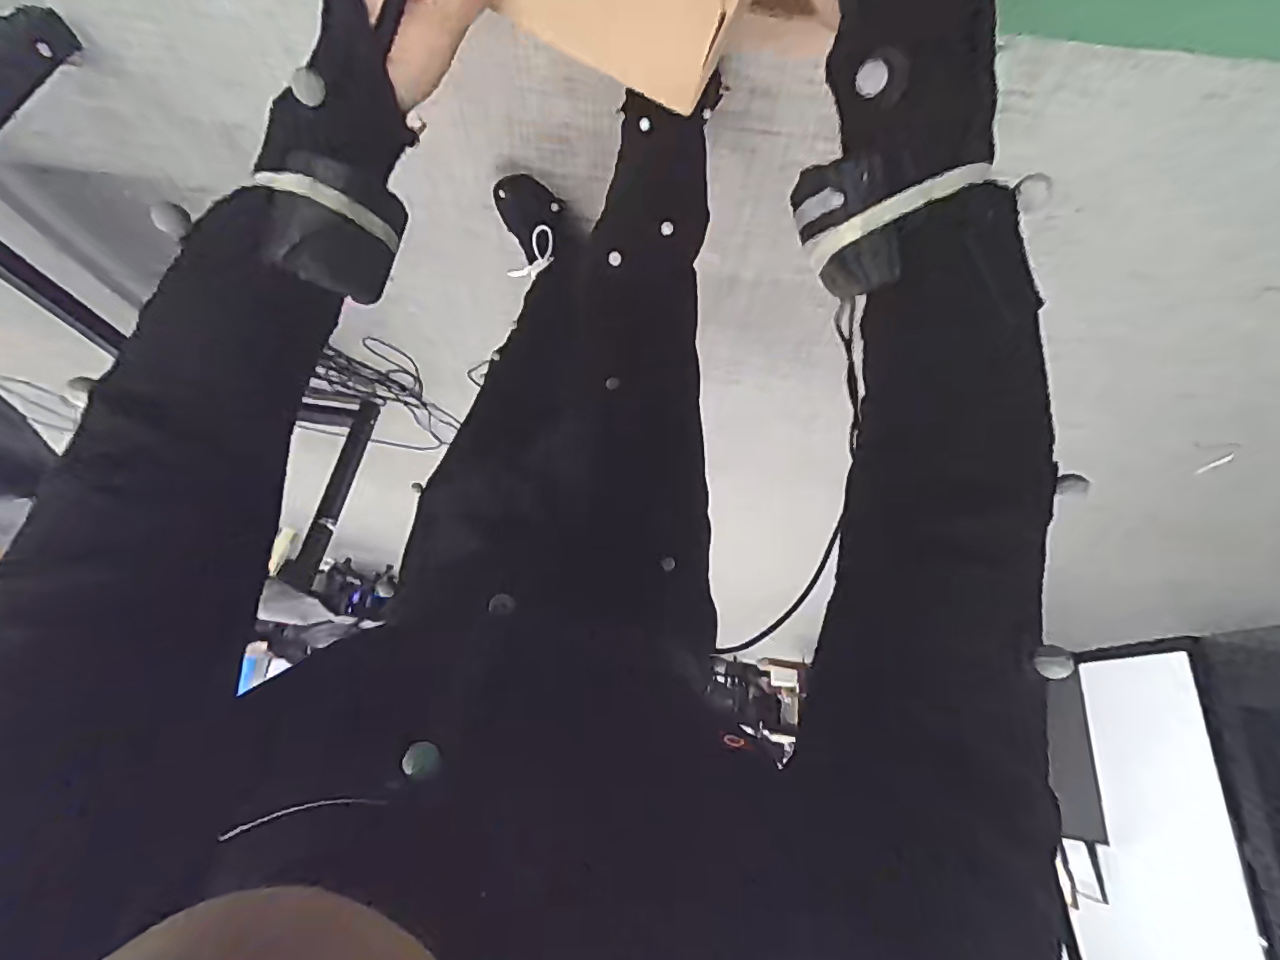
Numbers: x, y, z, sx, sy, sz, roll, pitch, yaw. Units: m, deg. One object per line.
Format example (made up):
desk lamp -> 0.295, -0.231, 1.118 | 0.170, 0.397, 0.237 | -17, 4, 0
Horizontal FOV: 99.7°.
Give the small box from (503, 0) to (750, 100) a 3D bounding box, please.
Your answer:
small box -> 0.007, -0.355, 0.271 | 0.179, 0.176, 0.168 | 25, 158, -5
